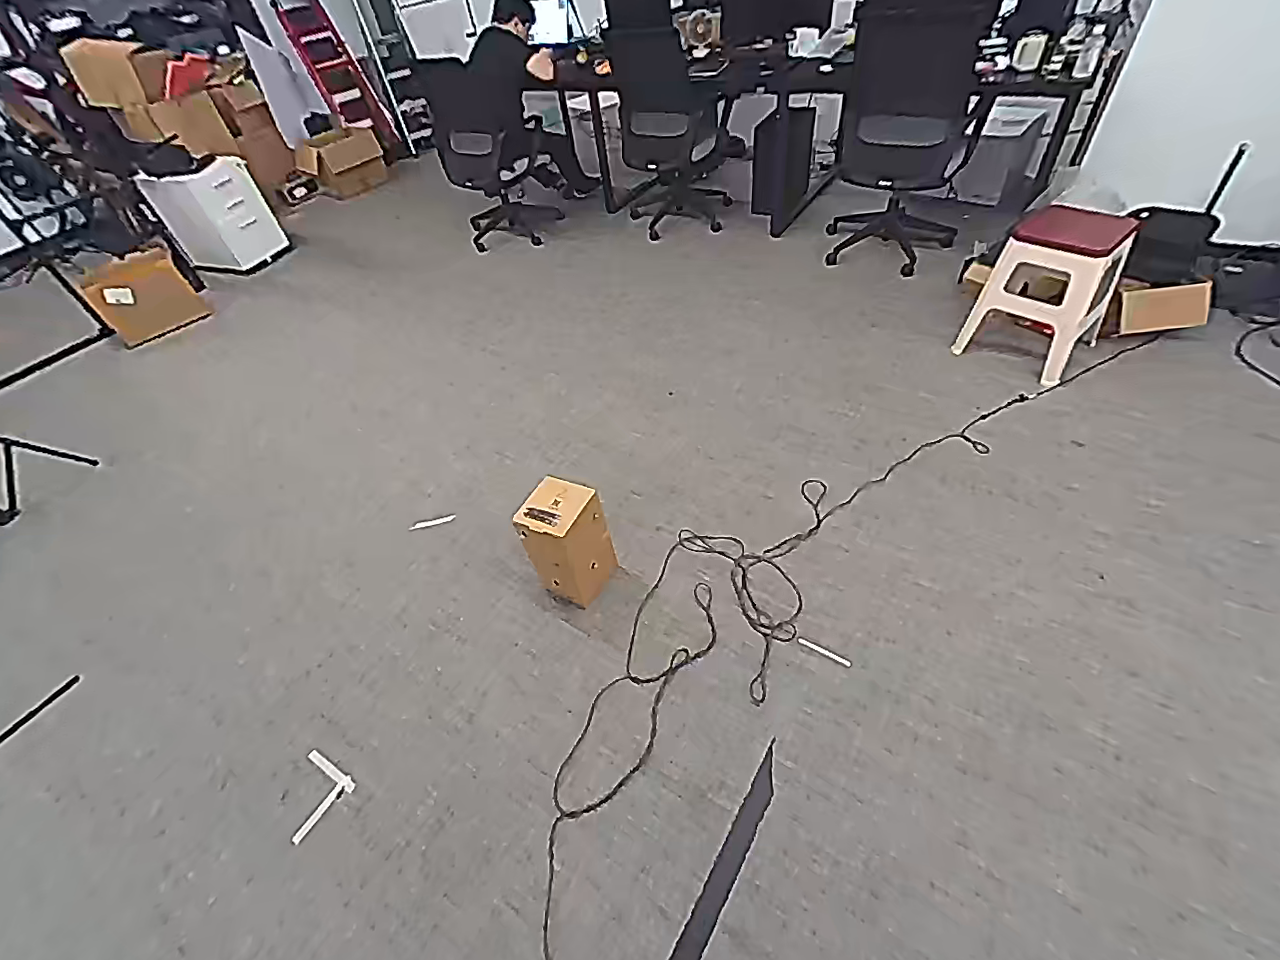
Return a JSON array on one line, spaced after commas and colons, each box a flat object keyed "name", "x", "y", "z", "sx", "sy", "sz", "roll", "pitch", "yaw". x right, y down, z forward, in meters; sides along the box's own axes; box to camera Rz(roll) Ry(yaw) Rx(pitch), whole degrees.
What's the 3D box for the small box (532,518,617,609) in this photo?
[{"name": "small box", "x": -0.185, "y": 0.251, "z": 1.597, "sx": 0.168, "sy": 0.176, "sz": 0.179, "roll": 20, "pitch": 53, "yaw": 26}]
